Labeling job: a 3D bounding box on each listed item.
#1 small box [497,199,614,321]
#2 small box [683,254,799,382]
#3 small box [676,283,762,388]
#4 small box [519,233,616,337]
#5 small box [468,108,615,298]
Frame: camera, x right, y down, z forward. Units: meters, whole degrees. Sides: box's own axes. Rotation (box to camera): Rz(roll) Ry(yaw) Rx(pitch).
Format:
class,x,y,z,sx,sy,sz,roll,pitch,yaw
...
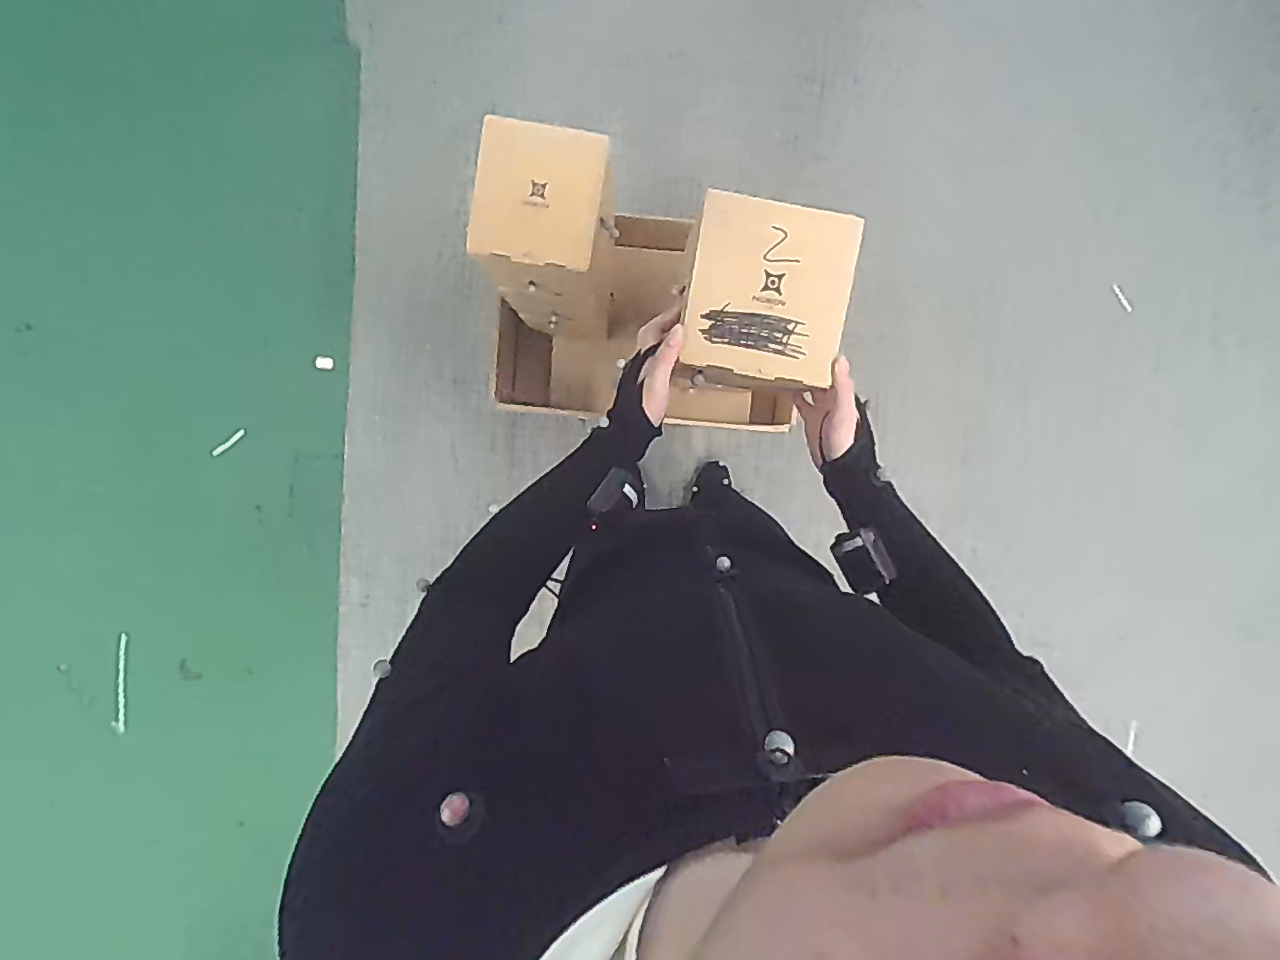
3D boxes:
class,x,y,z,sx,sy,sz,roll,pitch,yaw
small box,-0.137,-0.393,0.938,0.168,0.176,0.179,9,94,-1
small box,0.168,-0.275,0.951,0.168,0.176,0.179,4,94,-1
small box,0.166,-0.287,1.114,0.168,0.176,0.179,4,93,-2
small box,-0.140,-0.404,1.101,0.168,0.176,0.179,6,94,0
small box,-0.131,-0.382,0.777,0.168,0.176,0.179,10,94,-2
